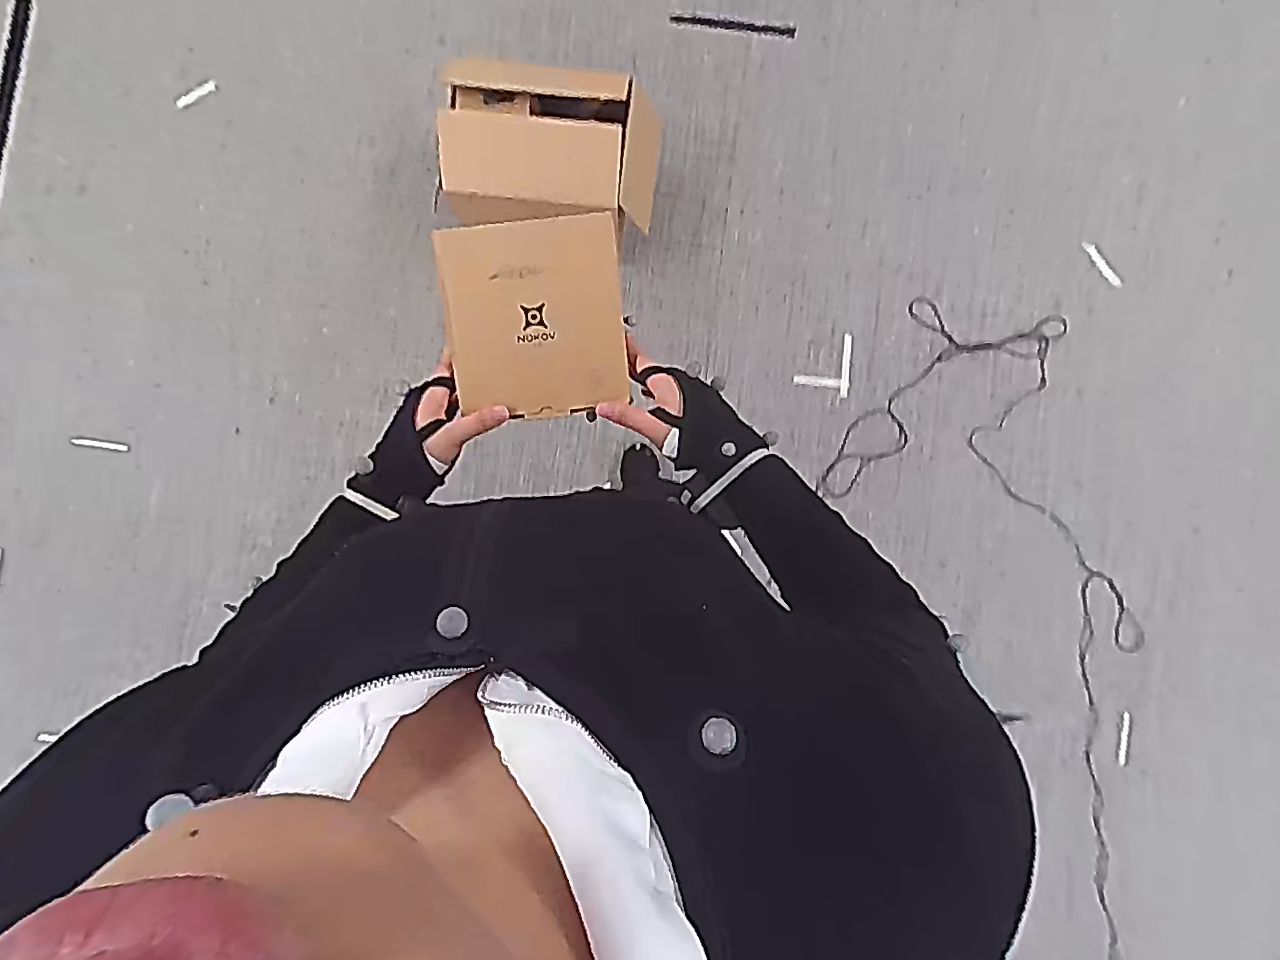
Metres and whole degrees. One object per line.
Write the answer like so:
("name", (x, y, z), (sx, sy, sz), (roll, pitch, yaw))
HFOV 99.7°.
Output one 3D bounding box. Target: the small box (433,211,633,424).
("small box", (-0.096, -0.161, 0.571), (0.168, 0.176, 0.179), (-7, 100, -1))
